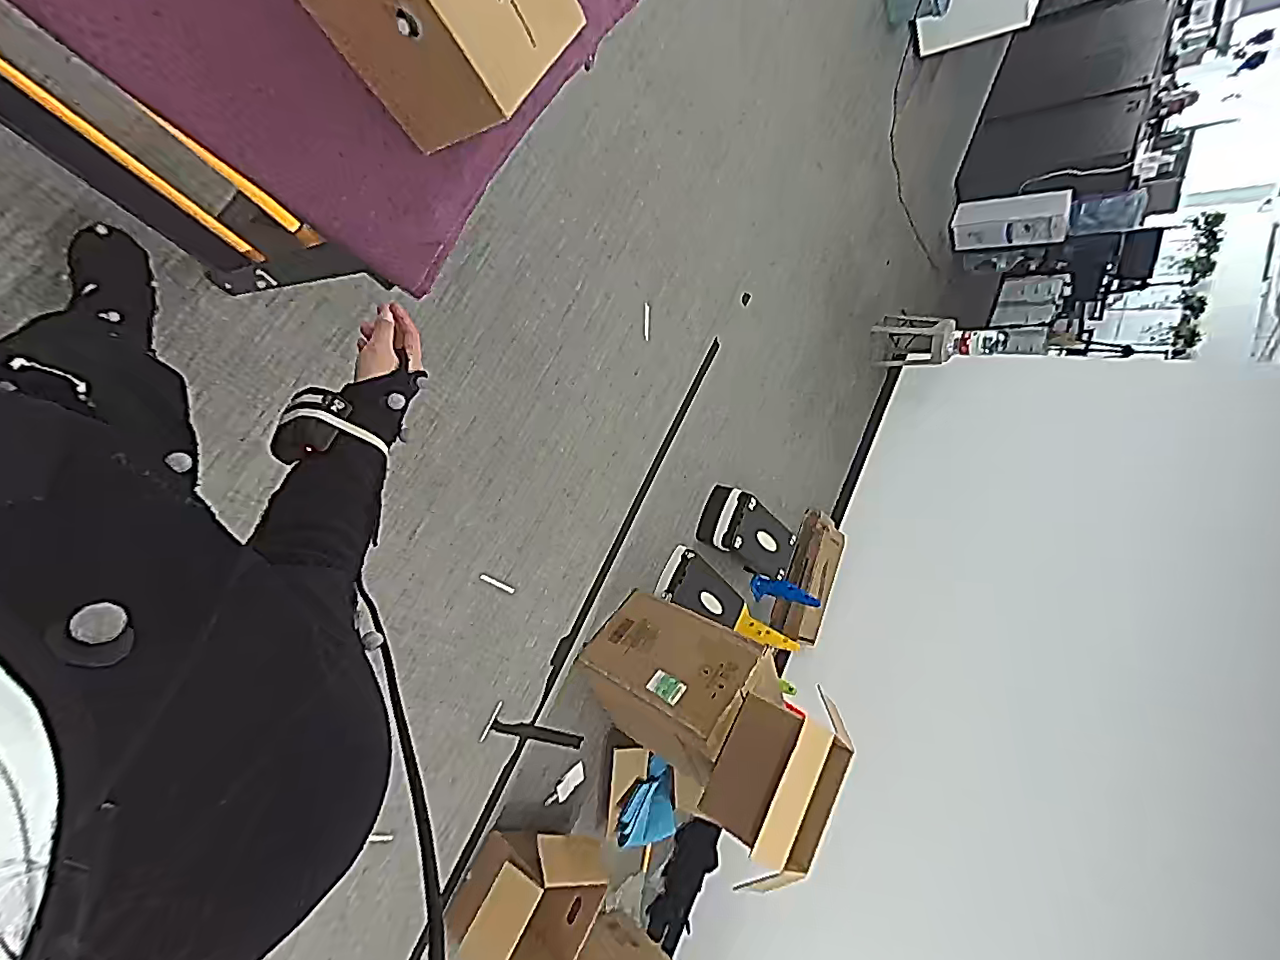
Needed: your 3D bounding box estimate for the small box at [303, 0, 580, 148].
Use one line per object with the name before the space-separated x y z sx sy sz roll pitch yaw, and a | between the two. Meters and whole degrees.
small box | -0.201 -0.480 0.548 0.179 0.176 0.168 48 64 -46
